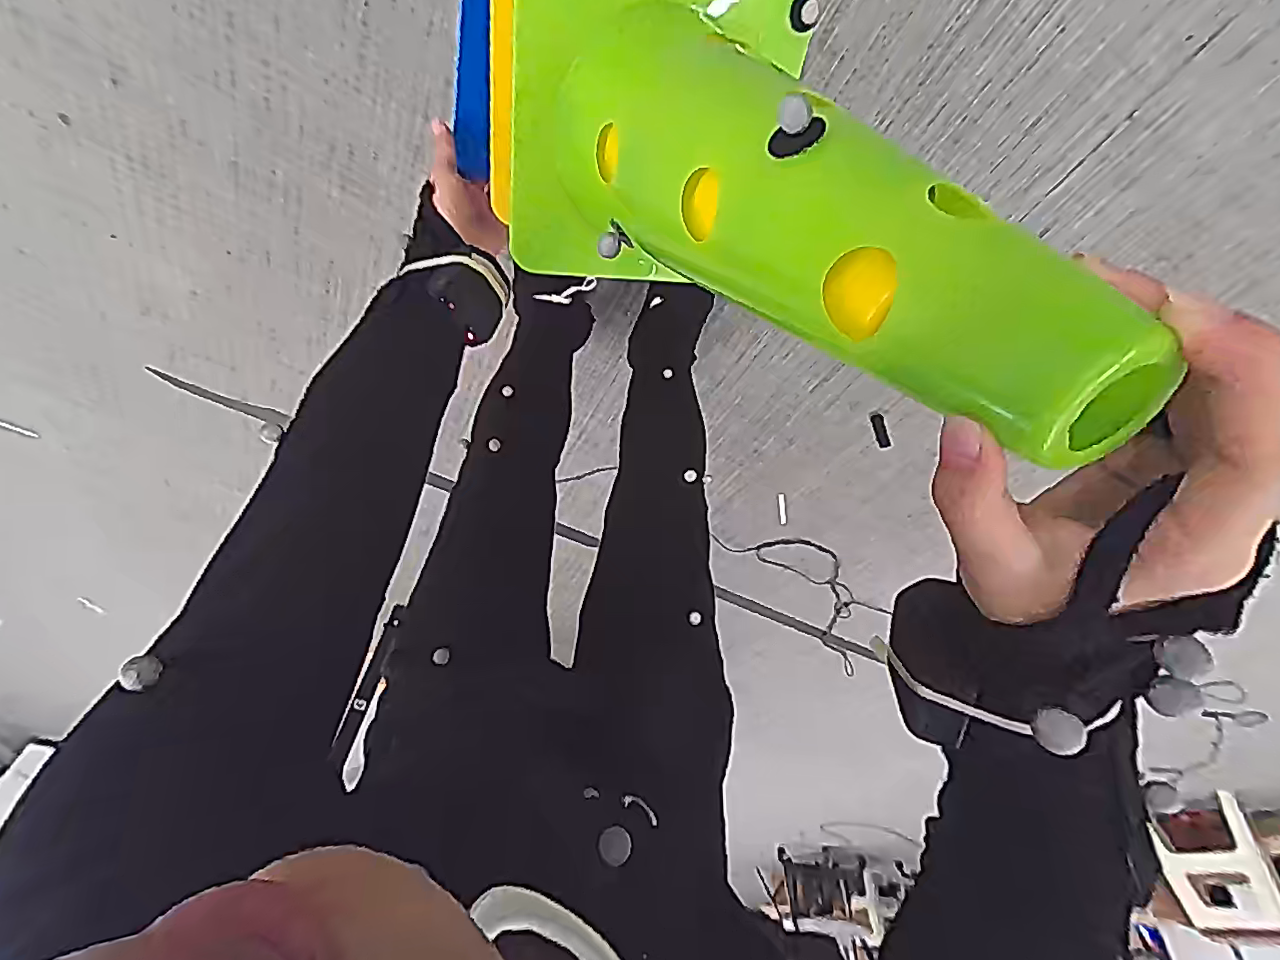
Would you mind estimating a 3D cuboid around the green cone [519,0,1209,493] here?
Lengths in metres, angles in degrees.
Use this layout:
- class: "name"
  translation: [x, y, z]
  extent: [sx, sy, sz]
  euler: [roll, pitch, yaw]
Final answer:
- class: "green cone"
  translation: [0.068, -0.131, 0.256]
  extent: [0.200, 0.368, 0.202]
  euler: [-4, 132, -19]
